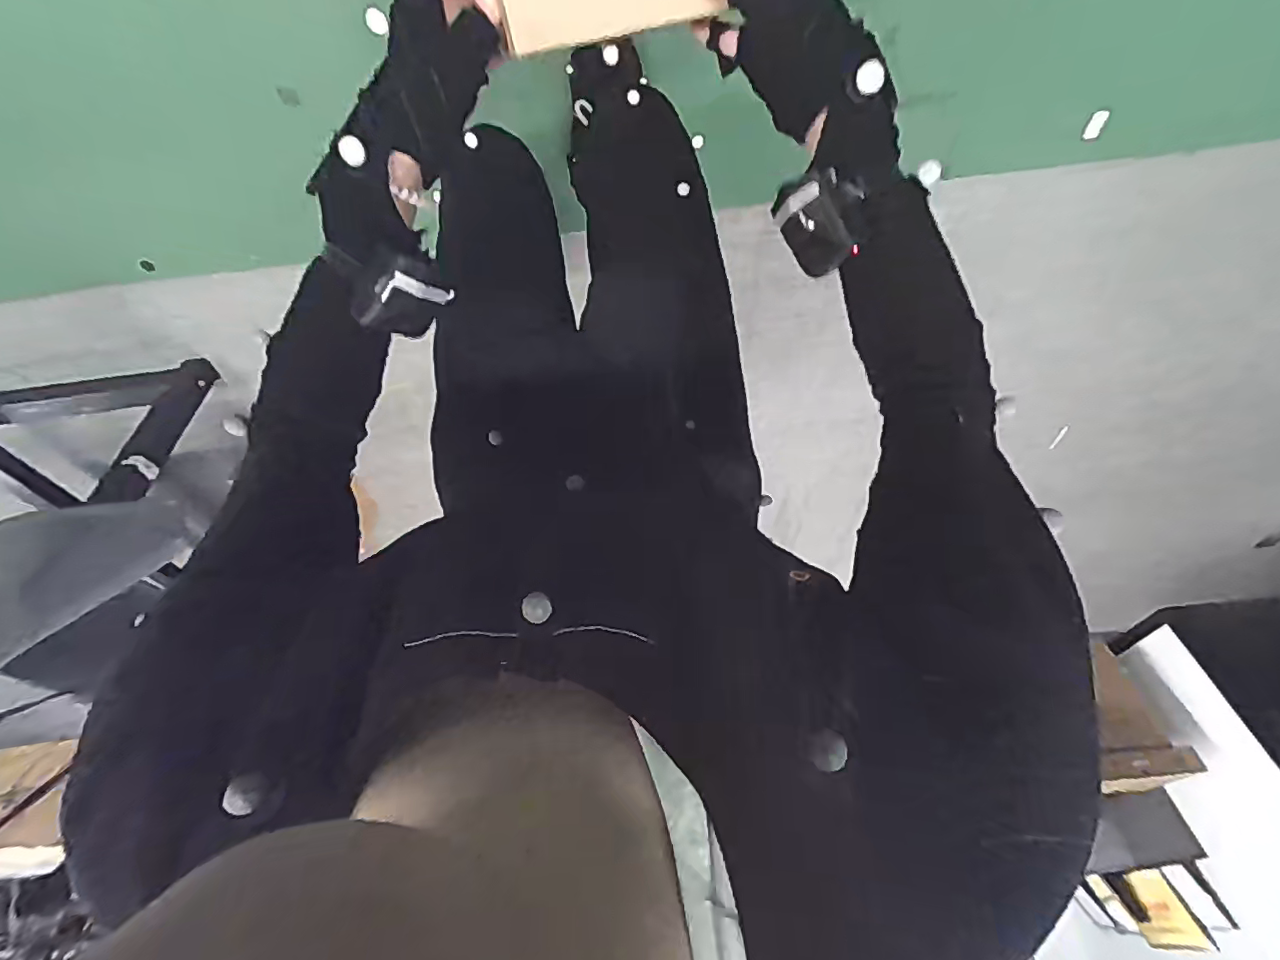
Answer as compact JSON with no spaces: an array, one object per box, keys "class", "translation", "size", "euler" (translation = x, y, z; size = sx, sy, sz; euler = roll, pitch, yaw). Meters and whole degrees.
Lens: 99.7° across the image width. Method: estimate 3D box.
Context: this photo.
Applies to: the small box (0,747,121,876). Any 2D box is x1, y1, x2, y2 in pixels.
[{"class":"small box","translation":[-1.101,0.595,0.973],"size":[0.179,0.176,0.168],"euler":[-9,141,1]}]
